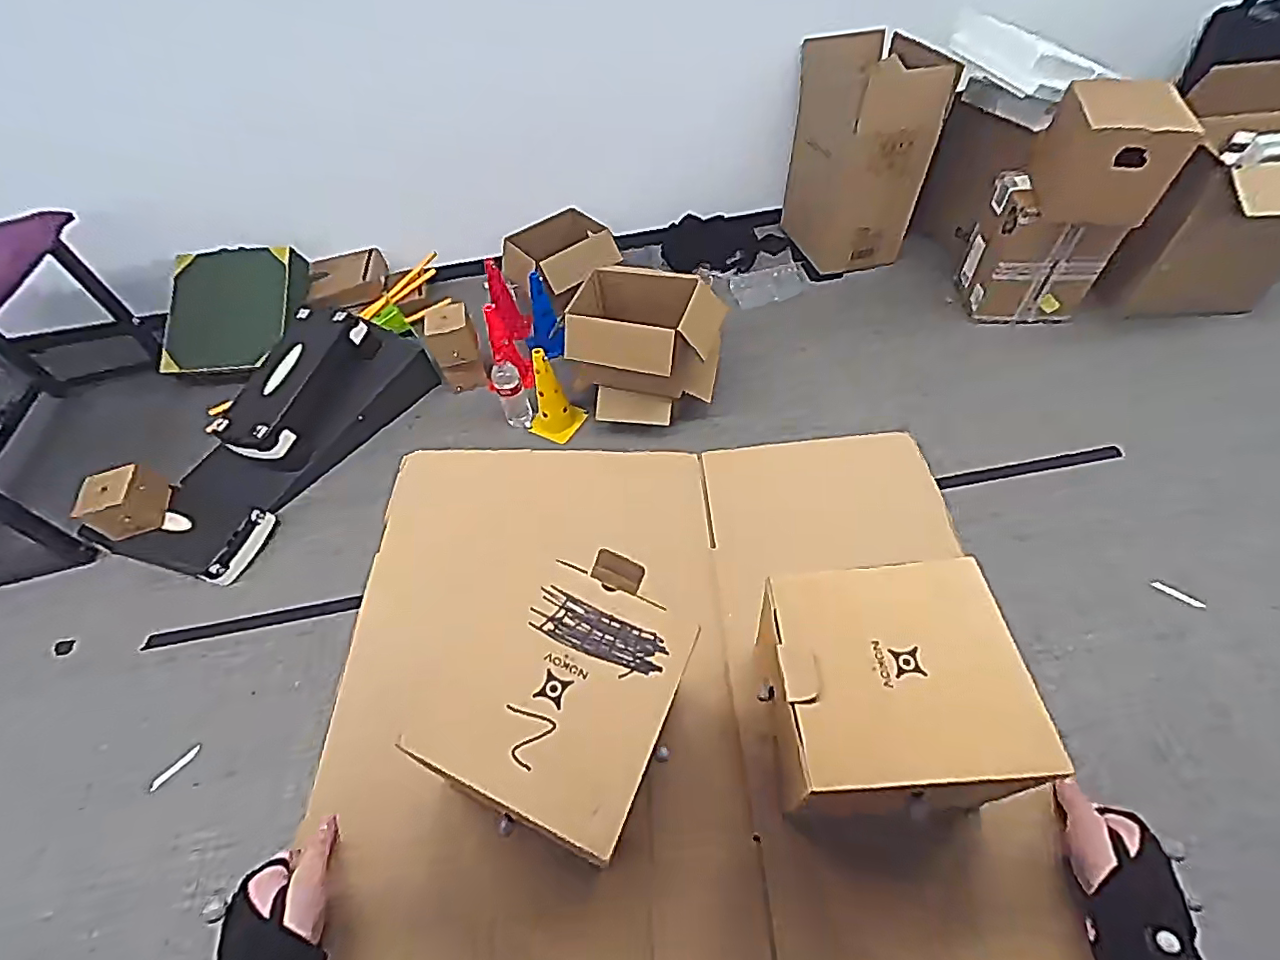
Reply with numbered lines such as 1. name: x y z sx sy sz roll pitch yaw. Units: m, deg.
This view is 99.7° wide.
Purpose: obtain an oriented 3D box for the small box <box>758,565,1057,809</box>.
1. small box: 0.211 0.193 0.491 0.179 0.176 0.168 -6 53 4
